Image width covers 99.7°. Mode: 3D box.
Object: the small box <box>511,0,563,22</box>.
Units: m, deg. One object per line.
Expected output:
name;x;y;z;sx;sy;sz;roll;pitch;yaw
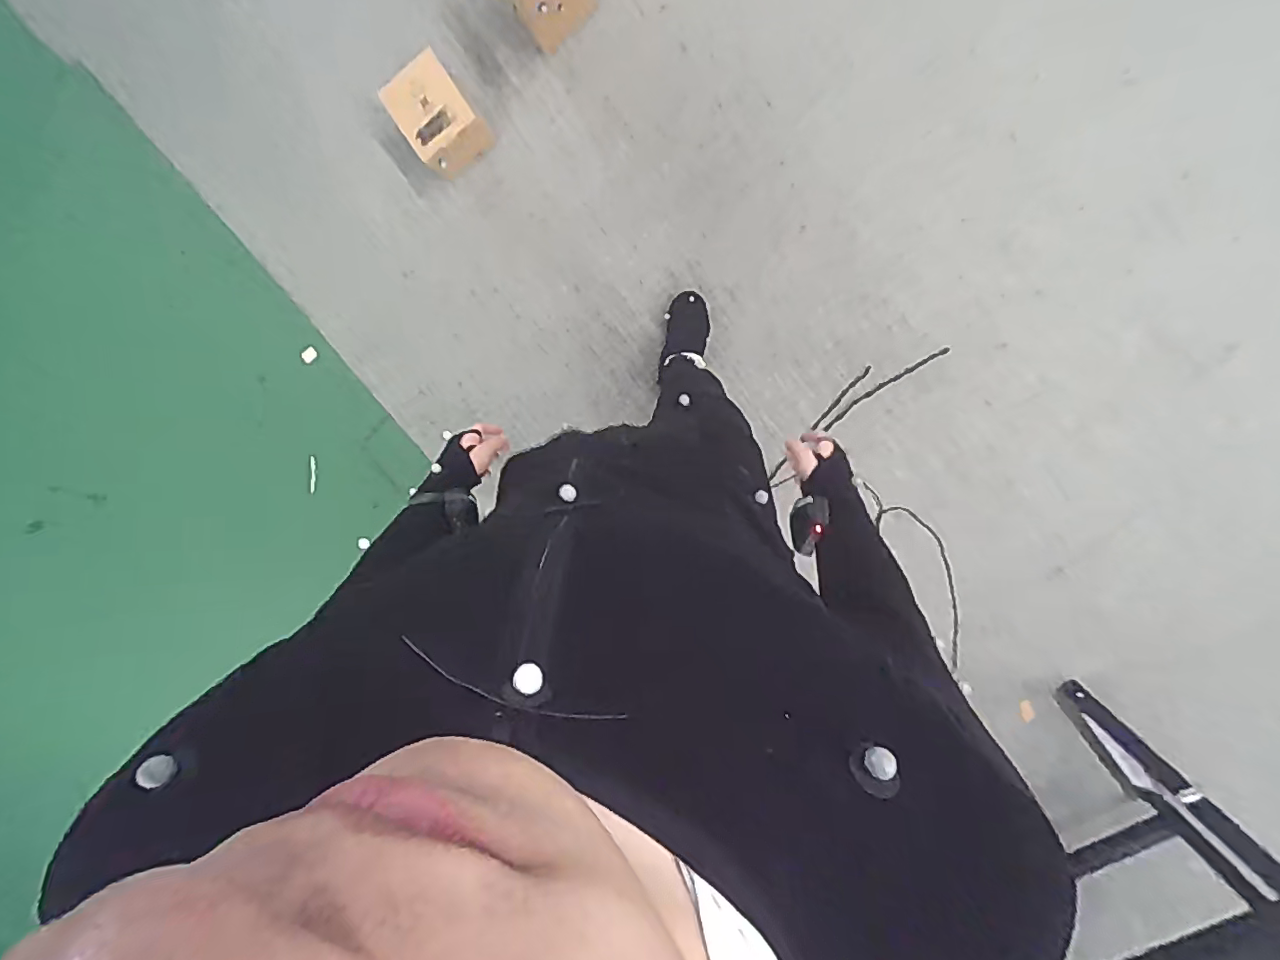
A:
small box;-0.224;-1.080;1.086;0.168;0.176;0.179;-34;100;12

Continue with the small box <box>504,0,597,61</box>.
small box;-0.218;-1.126;1.244;0.179;0.176;0.168;-35;101;11
